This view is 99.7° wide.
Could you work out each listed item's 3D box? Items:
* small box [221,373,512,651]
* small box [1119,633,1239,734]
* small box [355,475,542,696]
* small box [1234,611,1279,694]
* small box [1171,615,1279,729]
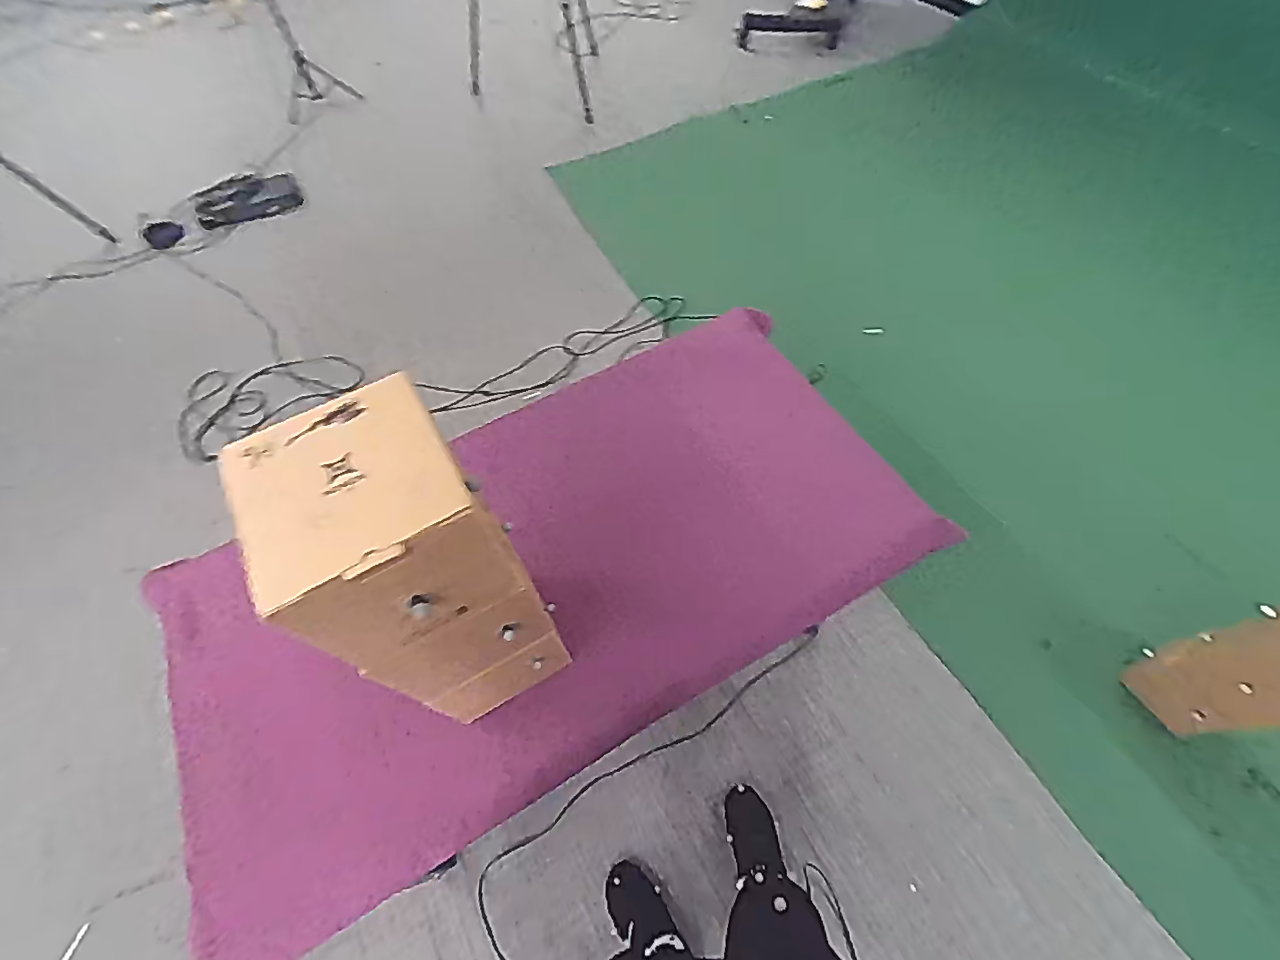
[{"bbox_3d":[-0.240,0.040,0.508,0.168,0.176,0.179,-28,61,-15],"label":"small box"},{"bbox_3d":[1.391,0.520,1.363,0.168,0.176,0.179,-26,61,-12],"label":"small box"},{"bbox_3d":[-0.230,0.130,0.644,0.179,0.176,0.168,-27,61,-13],"label":"small box"},{"bbox_3d":[1.382,0.353,1.082,0.168,0.176,0.179,-31,63,-14],"label":"small box"},{"bbox_3d":[1.390,0.441,1.221,0.168,0.176,0.179,-29,60,-14],"label":"small box"}]
